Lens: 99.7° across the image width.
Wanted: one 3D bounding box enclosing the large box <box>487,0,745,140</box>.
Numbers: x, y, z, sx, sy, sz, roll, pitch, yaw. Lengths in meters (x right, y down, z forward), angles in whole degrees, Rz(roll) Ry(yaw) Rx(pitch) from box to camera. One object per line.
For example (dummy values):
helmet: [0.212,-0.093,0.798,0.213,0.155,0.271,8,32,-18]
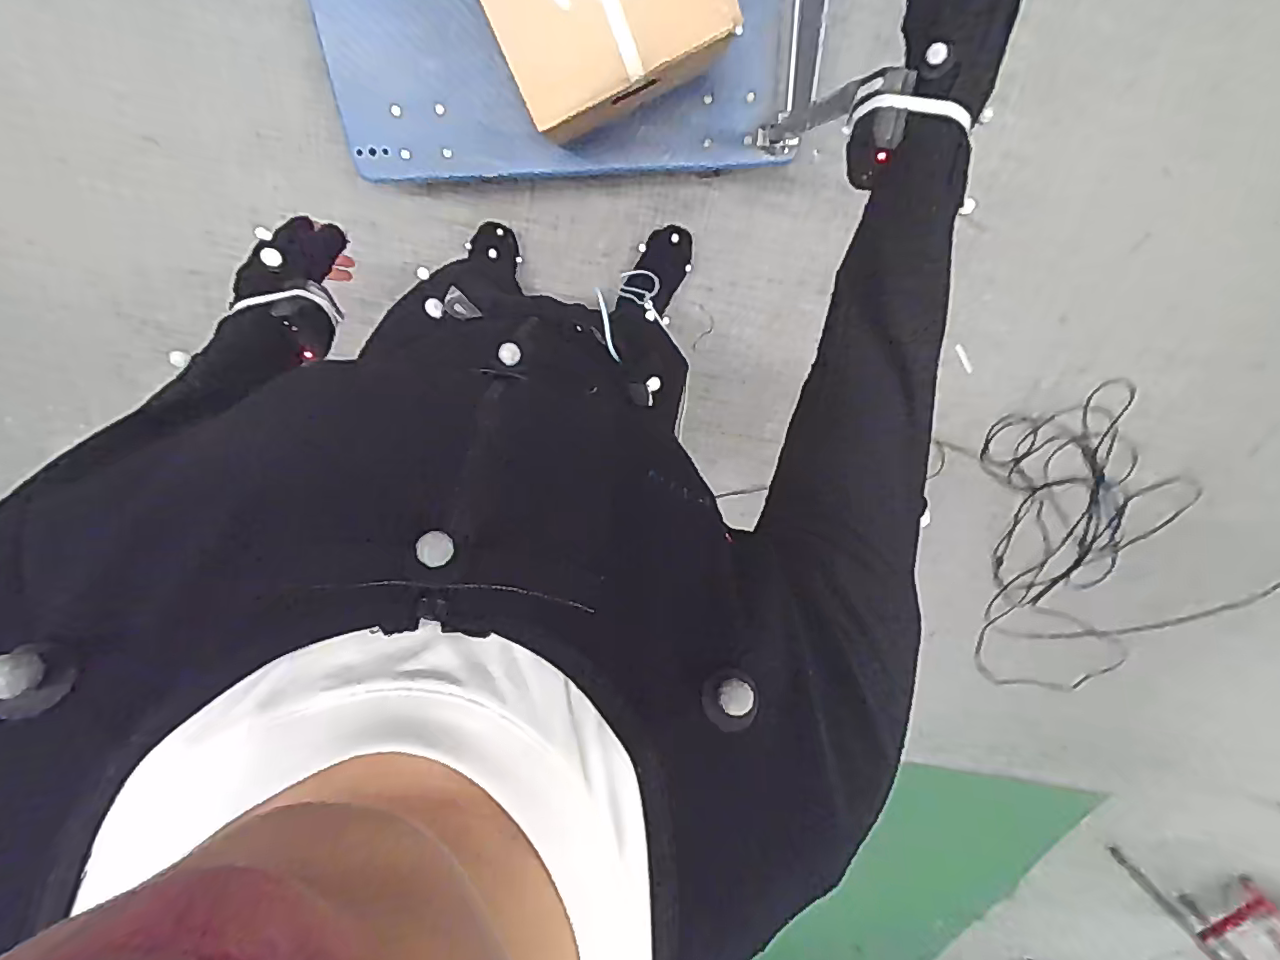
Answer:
large box: [-0.085,-0.793,0.796,0.320,0.320,0.408,-22,118,10]
